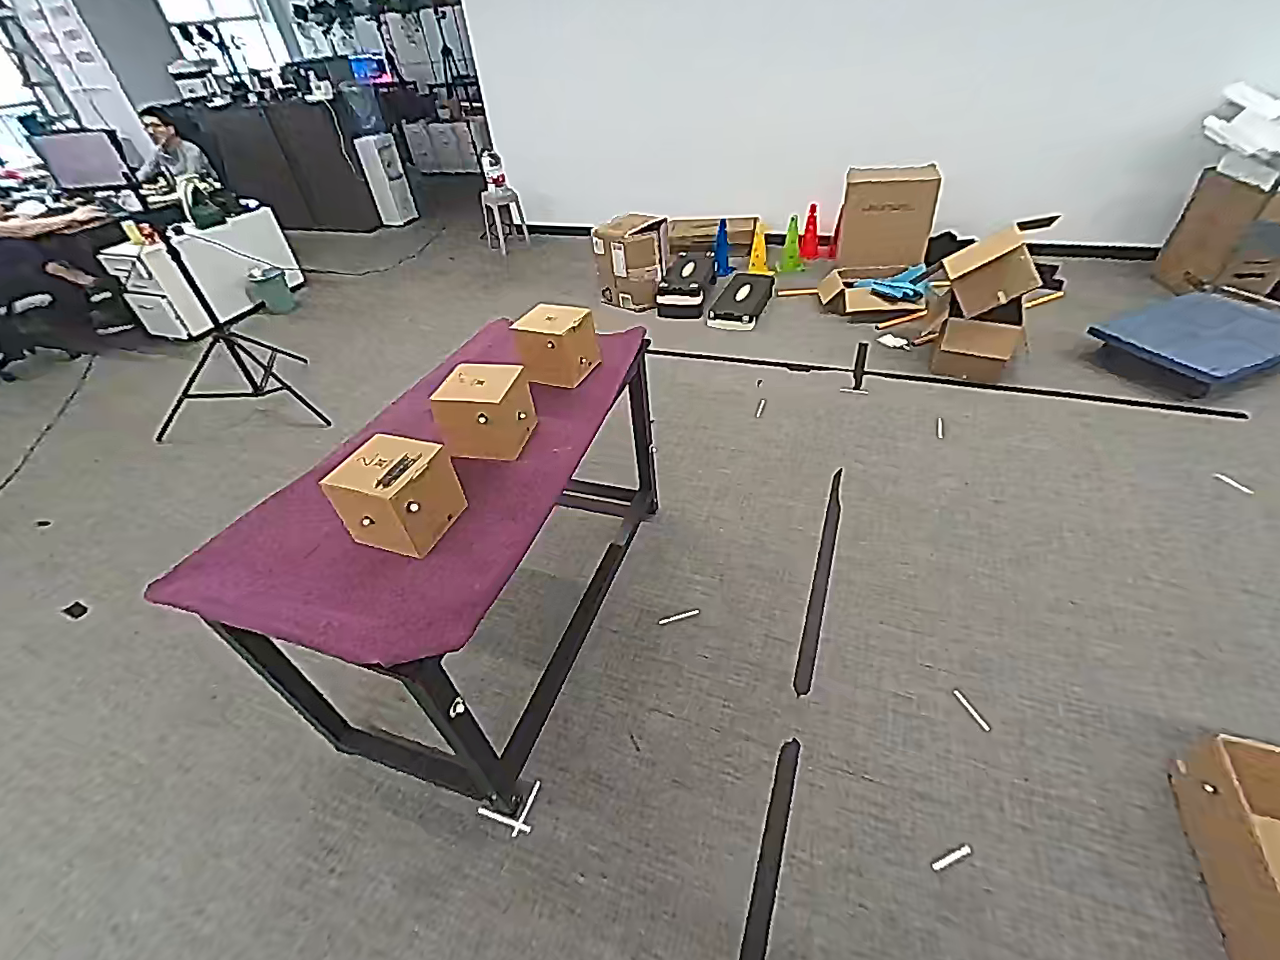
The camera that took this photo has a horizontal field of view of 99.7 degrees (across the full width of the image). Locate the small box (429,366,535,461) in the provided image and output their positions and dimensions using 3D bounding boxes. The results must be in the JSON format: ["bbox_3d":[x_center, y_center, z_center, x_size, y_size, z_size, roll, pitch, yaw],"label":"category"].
[{"bbox_3d":[-0.372,-0.161,1.315,0.179,0.176,0.168,4,41,12],"label":"small box"}]

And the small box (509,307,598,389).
[{"bbox_3d":[-0.241,-0.378,1.550,0.179,0.176,0.168,12,44,22],"label":"small box"}]
